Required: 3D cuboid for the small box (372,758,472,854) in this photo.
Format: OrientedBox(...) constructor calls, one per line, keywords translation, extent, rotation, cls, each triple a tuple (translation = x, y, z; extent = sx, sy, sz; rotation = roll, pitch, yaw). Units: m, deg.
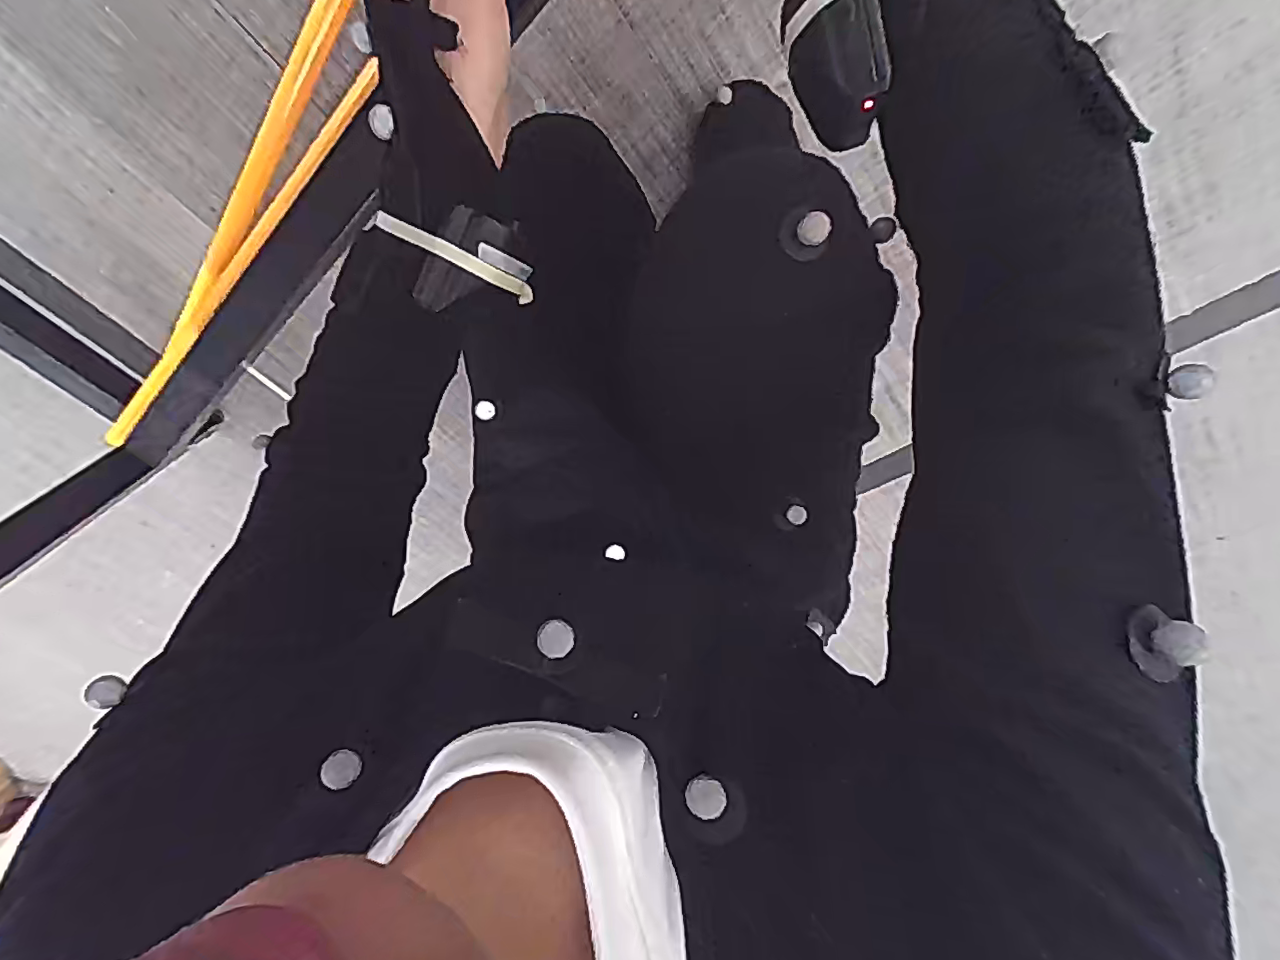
OrientedBox(translation=(-0.608, 0.920, 1.528), extent=(0.179, 0.176, 0.168), rotation=(-32, 117, 26), cls="small box")
